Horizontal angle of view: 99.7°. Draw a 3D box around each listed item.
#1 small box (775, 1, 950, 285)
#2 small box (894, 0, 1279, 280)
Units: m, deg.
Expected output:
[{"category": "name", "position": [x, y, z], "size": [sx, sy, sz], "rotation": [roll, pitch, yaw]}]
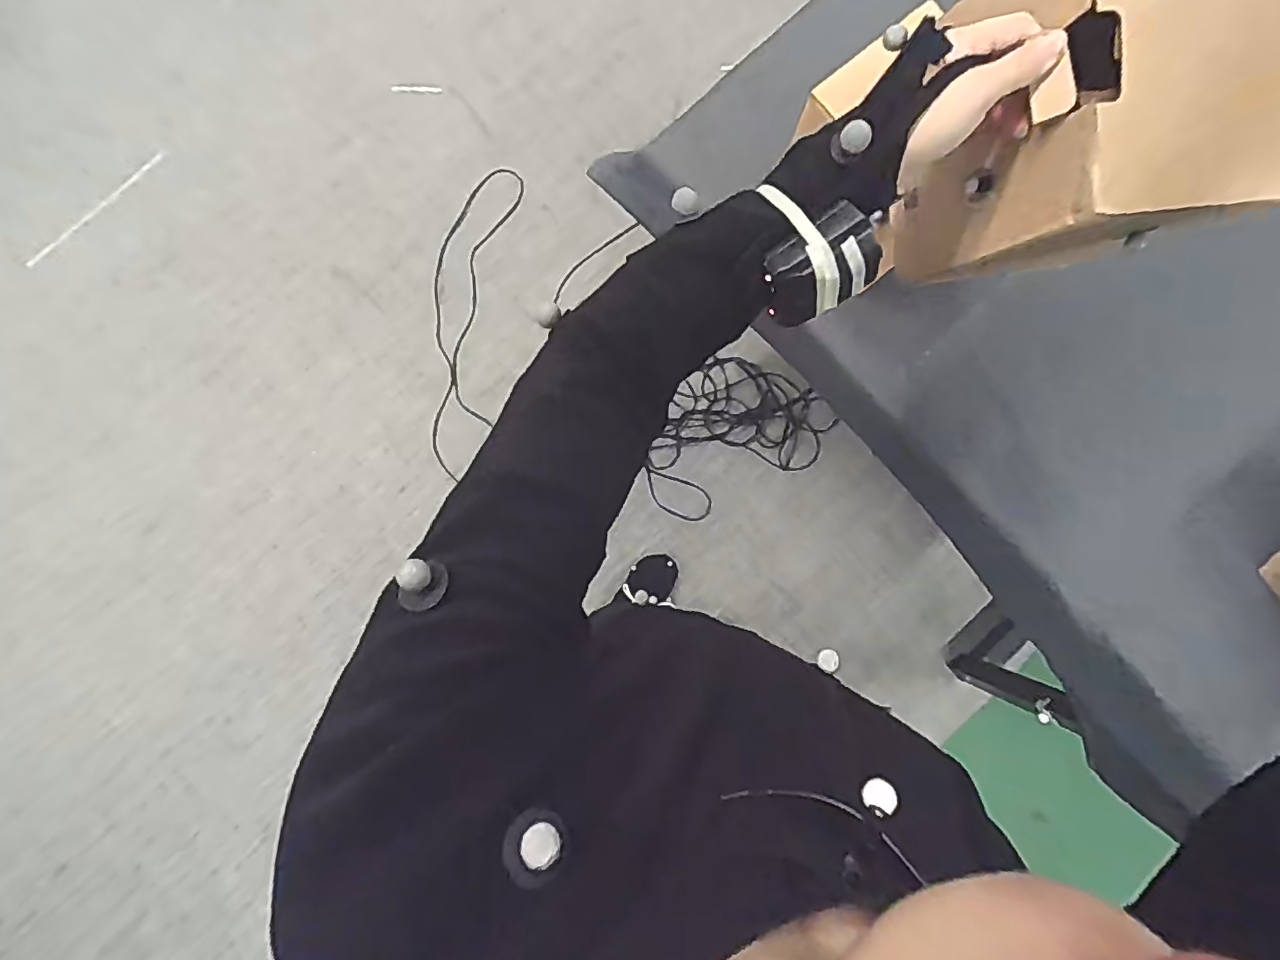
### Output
[{"category": "small box", "position": [0.282, -0.361, 0.612], "size": [0.168, 0.176, 0.179], "rotation": [-39, 87, -4]}, {"category": "small box", "position": [0.298, -0.244, 0.373], "size": [0.179, 0.176, 0.168], "rotation": [-10, 100, -12]}]
